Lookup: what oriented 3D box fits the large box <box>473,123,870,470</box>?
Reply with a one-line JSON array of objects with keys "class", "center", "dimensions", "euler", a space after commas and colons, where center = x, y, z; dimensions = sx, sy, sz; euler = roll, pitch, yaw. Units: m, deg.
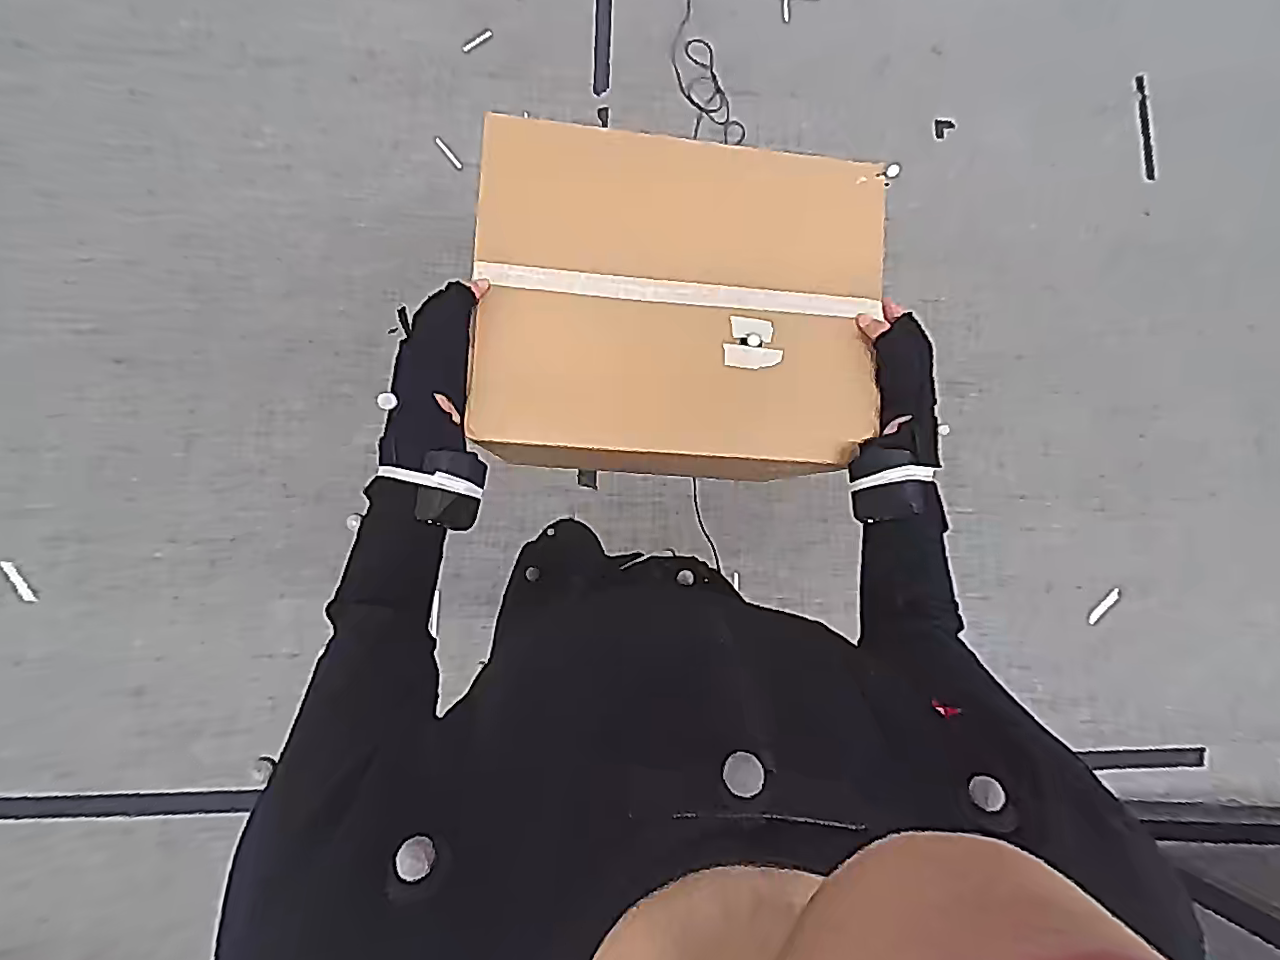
[{"class": "large box", "center": [0.022, -0.182, 0.691], "dimensions": [0.408, 0.320, 0.320], "euler": [4, 88, -7]}]
